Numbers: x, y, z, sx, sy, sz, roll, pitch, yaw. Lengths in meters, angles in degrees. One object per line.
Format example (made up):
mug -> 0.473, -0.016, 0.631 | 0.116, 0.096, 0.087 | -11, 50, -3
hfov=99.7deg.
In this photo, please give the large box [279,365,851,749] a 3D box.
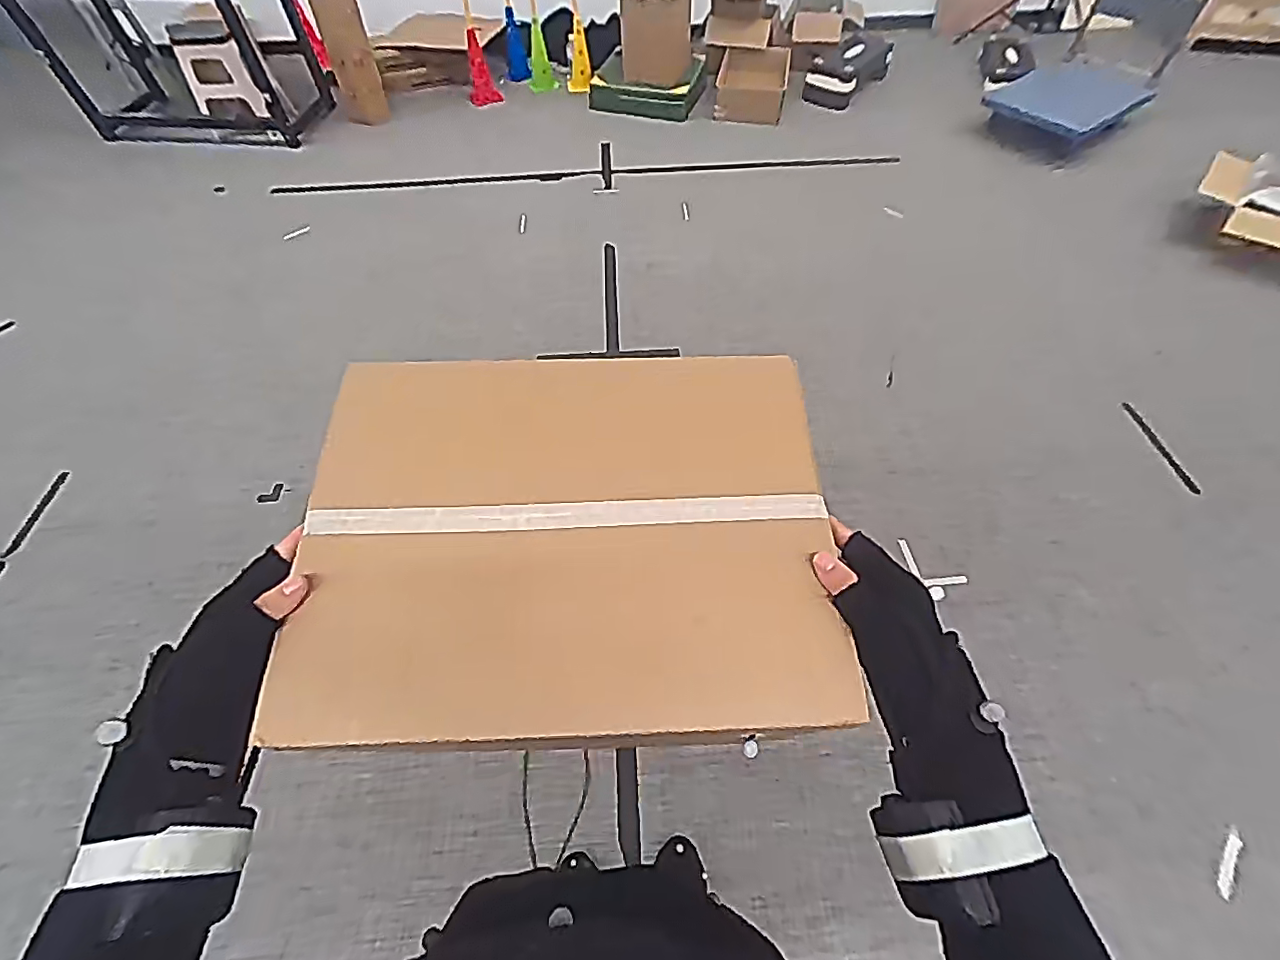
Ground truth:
large box -> -0.055, 0.102, 0.570 | 0.408, 0.320, 0.320 | -2, 63, -1
